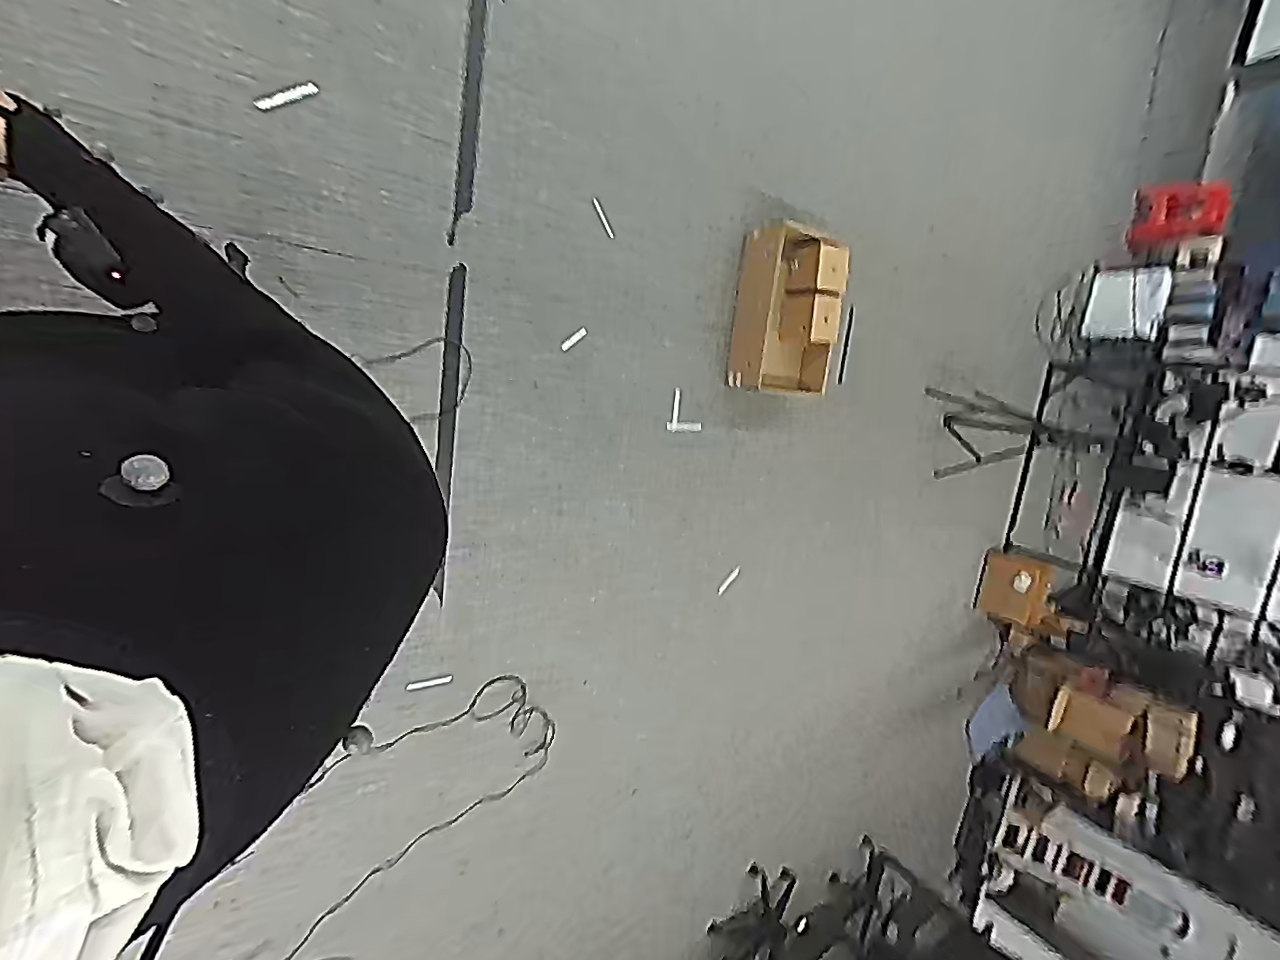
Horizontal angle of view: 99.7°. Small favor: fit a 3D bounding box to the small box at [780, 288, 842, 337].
[{"bbox_3d":[0.689,-0.679,2.197,0.168,0.176,0.179,-8,108,-33],"label":"small box"}]
